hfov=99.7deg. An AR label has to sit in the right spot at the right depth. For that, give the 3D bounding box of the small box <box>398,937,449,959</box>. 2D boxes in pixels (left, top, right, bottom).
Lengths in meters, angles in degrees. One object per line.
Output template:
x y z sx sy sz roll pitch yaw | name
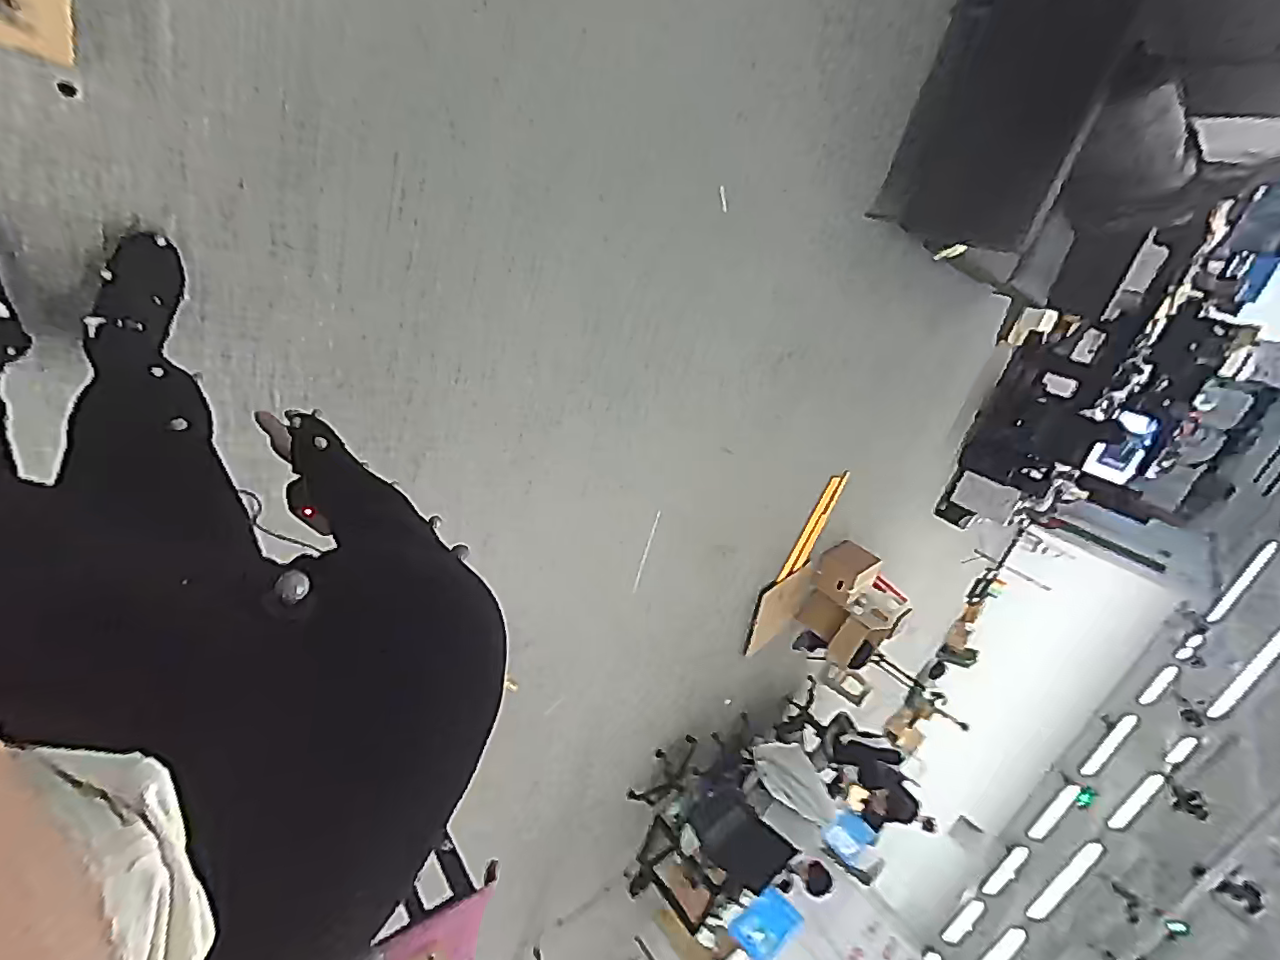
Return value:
-0.616 1.431 1.500 0.168 0.176 0.179 -9 125 -41 | small box
